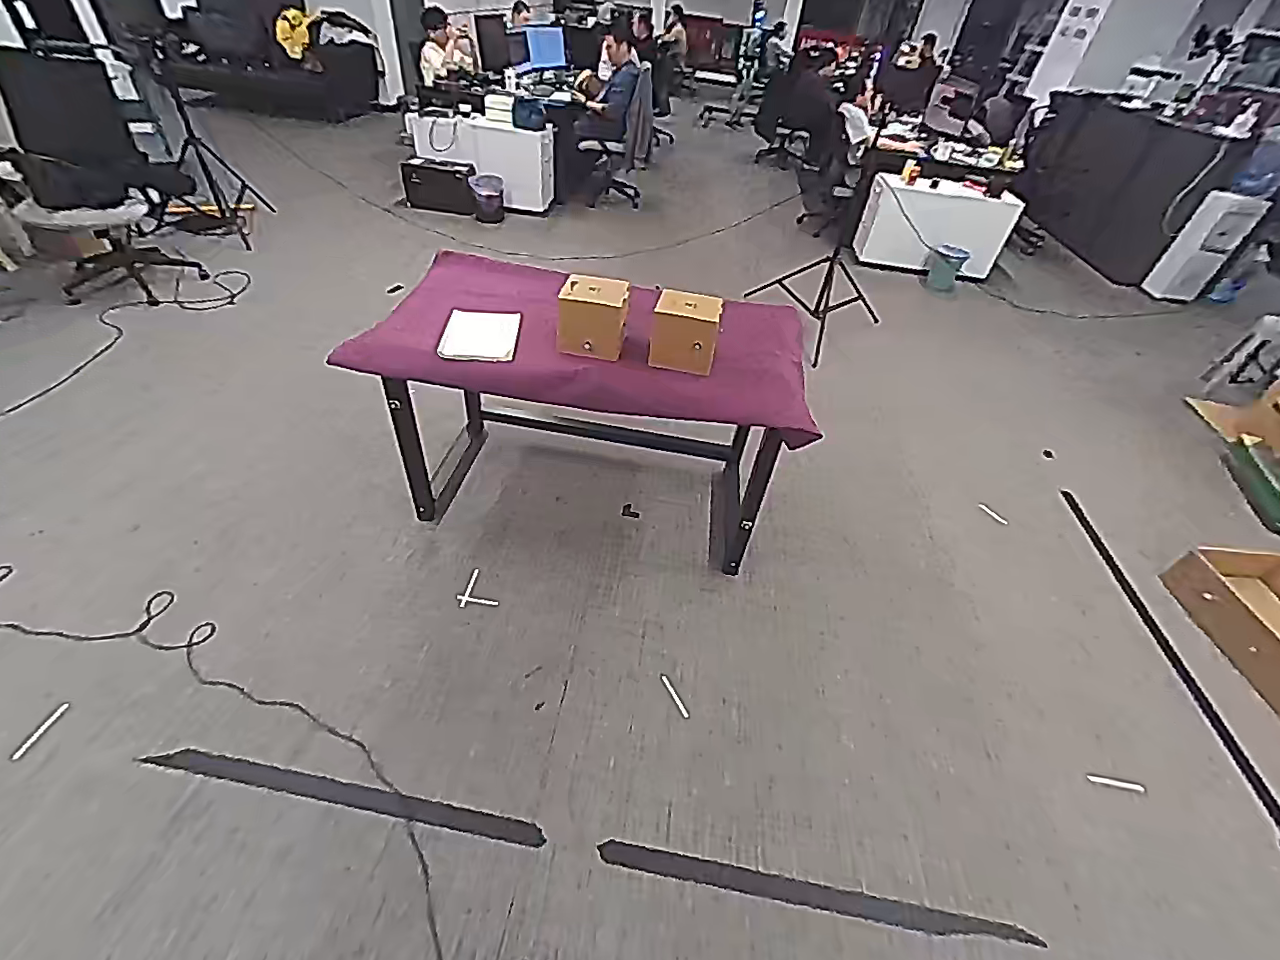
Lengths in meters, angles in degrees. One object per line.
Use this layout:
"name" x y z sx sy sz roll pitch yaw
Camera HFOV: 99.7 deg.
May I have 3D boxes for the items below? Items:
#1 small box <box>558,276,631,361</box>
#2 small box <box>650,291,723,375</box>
"small box" -0.131 -0.458 1.549 0.179 0.176 0.168 9 42 2
"small box" 0.131 -0.415 1.539 0.179 0.176 0.168 10 40 6
